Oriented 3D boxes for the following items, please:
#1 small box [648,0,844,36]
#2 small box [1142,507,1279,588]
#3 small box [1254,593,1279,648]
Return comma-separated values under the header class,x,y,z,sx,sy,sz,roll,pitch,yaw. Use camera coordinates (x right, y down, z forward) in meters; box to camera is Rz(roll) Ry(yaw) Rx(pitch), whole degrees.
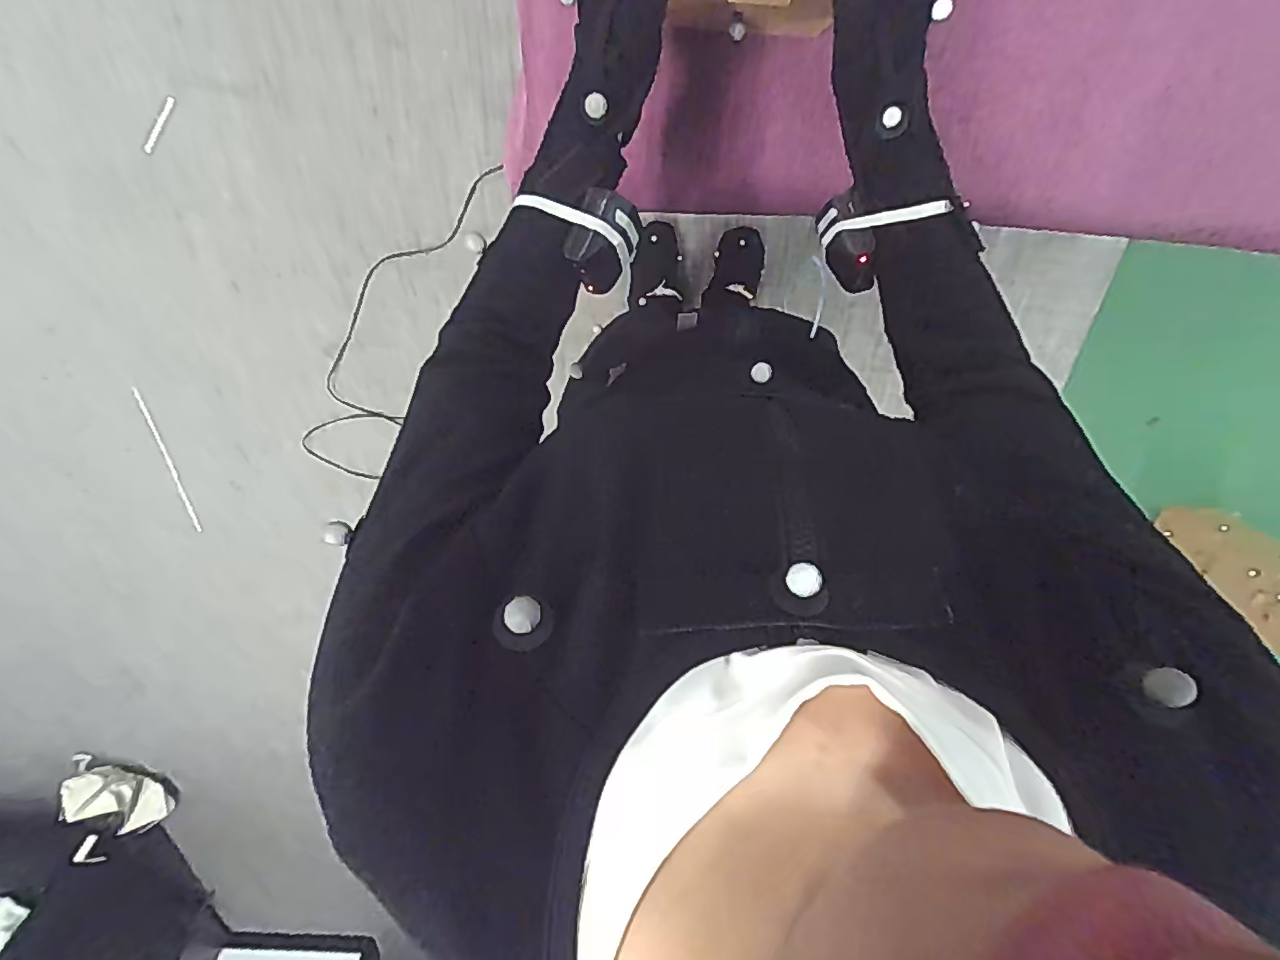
class,x,y,z,sx,sy,sz,roll,pitch,yaw
small box,0.089,-0.476,0.414,0.168,0.176,0.179,4,119,-1
small box,1.631,0.191,1.559,0.179,0.176,0.168,4,118,0
small box,1.637,0.348,1.269,0.179,0.176,0.168,-2,119,1
